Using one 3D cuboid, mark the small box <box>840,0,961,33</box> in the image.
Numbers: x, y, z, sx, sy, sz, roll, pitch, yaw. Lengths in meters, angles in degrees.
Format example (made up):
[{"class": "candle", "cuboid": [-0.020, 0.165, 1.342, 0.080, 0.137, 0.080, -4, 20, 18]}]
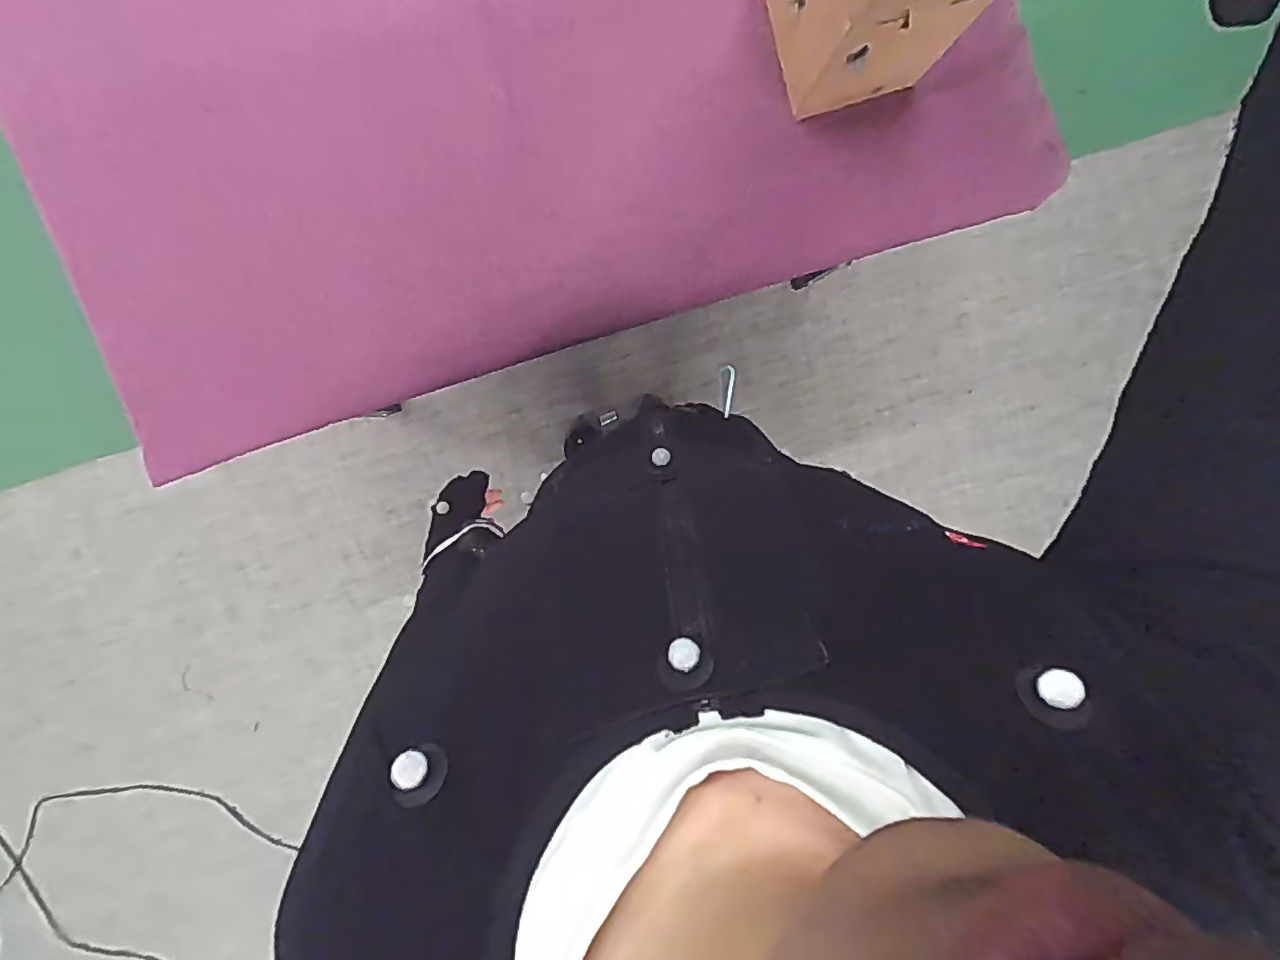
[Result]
[{"class": "small box", "cuboid": [0.257, -0.533, 0.443, 0.168, 0.176, 0.179, -21, 98, 0]}]
